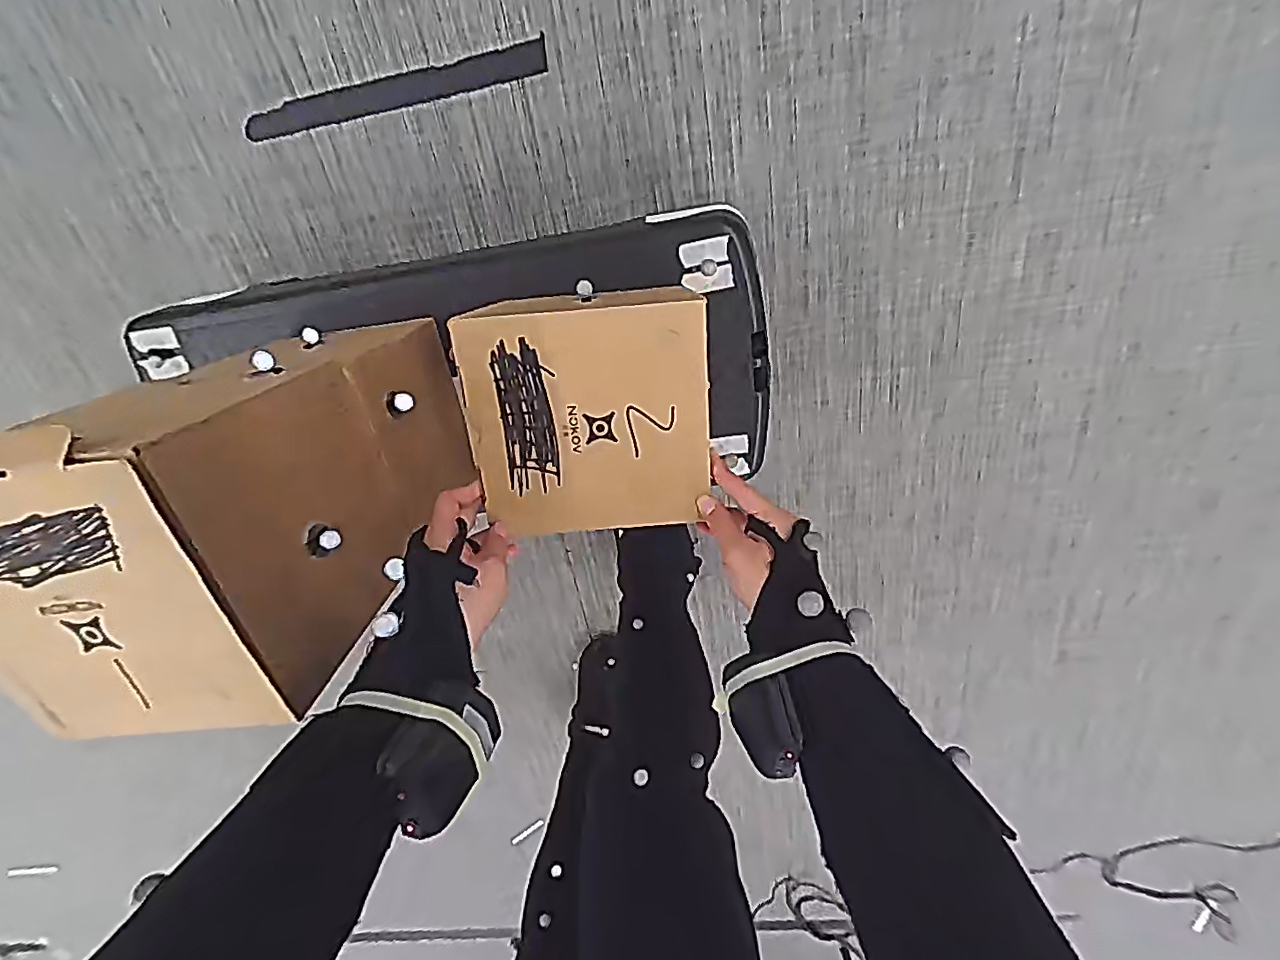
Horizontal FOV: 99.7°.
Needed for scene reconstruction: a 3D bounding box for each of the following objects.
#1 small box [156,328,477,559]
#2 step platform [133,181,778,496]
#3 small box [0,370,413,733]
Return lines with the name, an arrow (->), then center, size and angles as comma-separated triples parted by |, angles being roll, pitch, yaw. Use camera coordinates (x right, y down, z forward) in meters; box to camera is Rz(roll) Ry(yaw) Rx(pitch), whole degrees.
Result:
small box -> -0.273, -0.038, 0.506 | 0.168, 0.176, 0.179 | -6, 117, 6
step platform -> -0.187, -0.142, 0.644 | 0.684, 0.204, 0.286 | -7, 116, 7
small box -> -0.282, 0.034, 0.358 | 0.168, 0.176, 0.179 | -6, 117, 6
